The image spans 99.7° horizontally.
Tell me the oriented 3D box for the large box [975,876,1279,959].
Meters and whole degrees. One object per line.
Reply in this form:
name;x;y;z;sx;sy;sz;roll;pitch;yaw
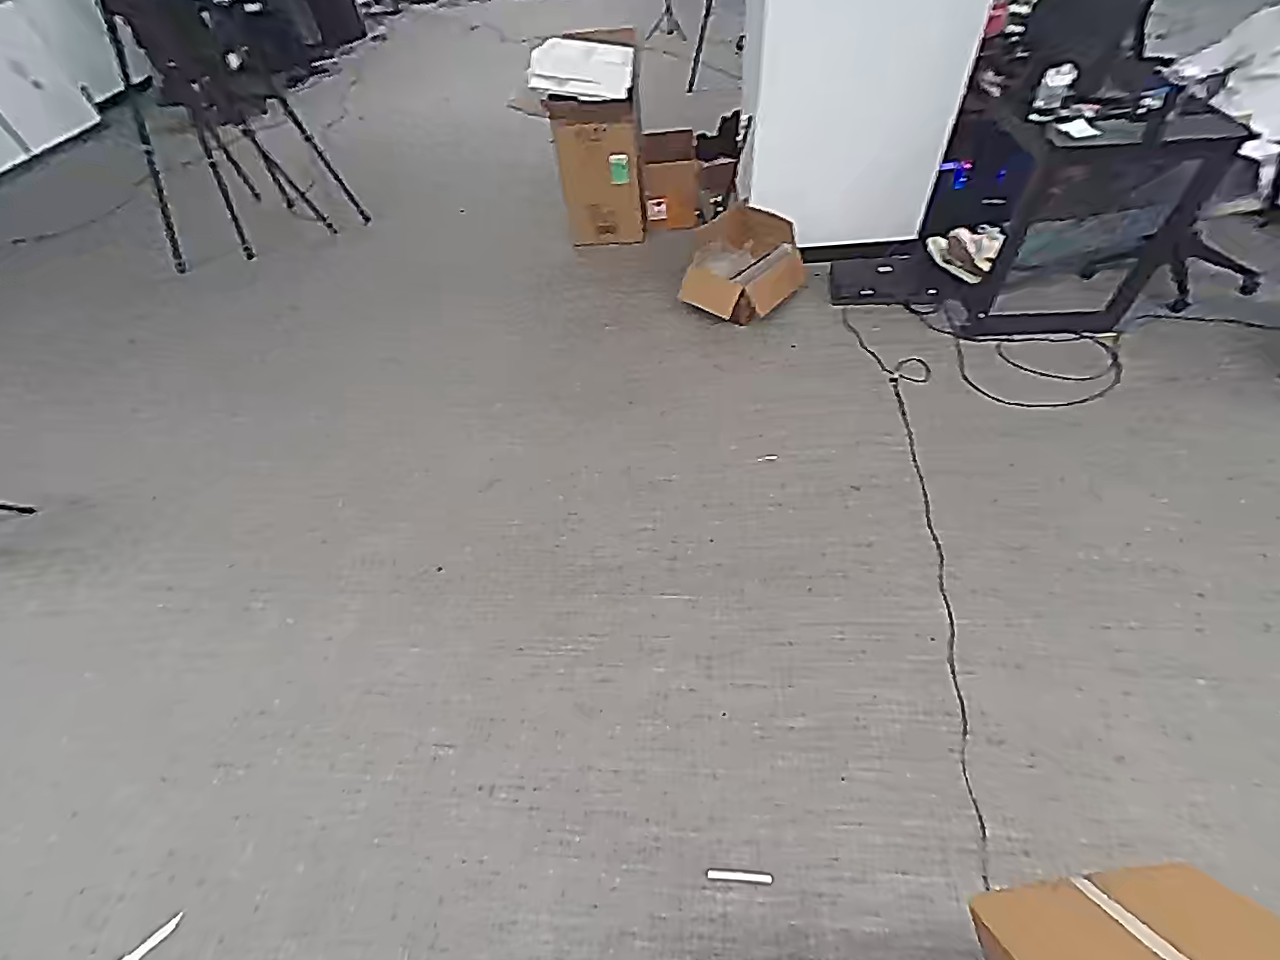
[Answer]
large box;0.643;0.703;0.558;0.320;0.408;0.320;-14;78;4
